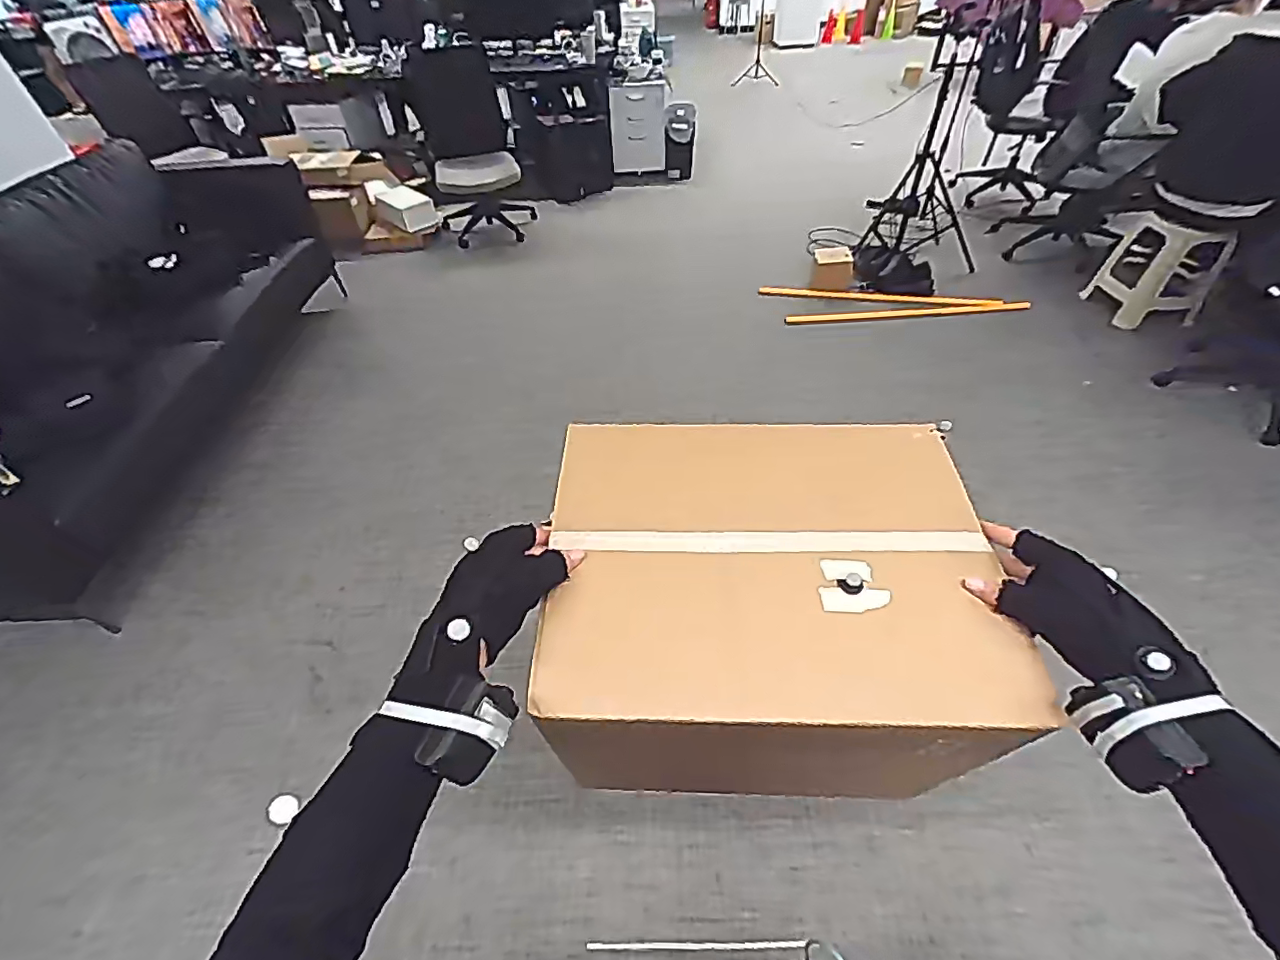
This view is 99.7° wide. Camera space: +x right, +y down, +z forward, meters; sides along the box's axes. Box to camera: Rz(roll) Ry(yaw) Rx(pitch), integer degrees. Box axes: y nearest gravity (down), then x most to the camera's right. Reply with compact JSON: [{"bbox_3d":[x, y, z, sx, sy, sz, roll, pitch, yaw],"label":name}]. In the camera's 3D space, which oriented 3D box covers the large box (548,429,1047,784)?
[{"bbox_3d":[0.125,0.155,0.633,0.408,0.320,0.320,1,52,1],"label":"large box"}]
